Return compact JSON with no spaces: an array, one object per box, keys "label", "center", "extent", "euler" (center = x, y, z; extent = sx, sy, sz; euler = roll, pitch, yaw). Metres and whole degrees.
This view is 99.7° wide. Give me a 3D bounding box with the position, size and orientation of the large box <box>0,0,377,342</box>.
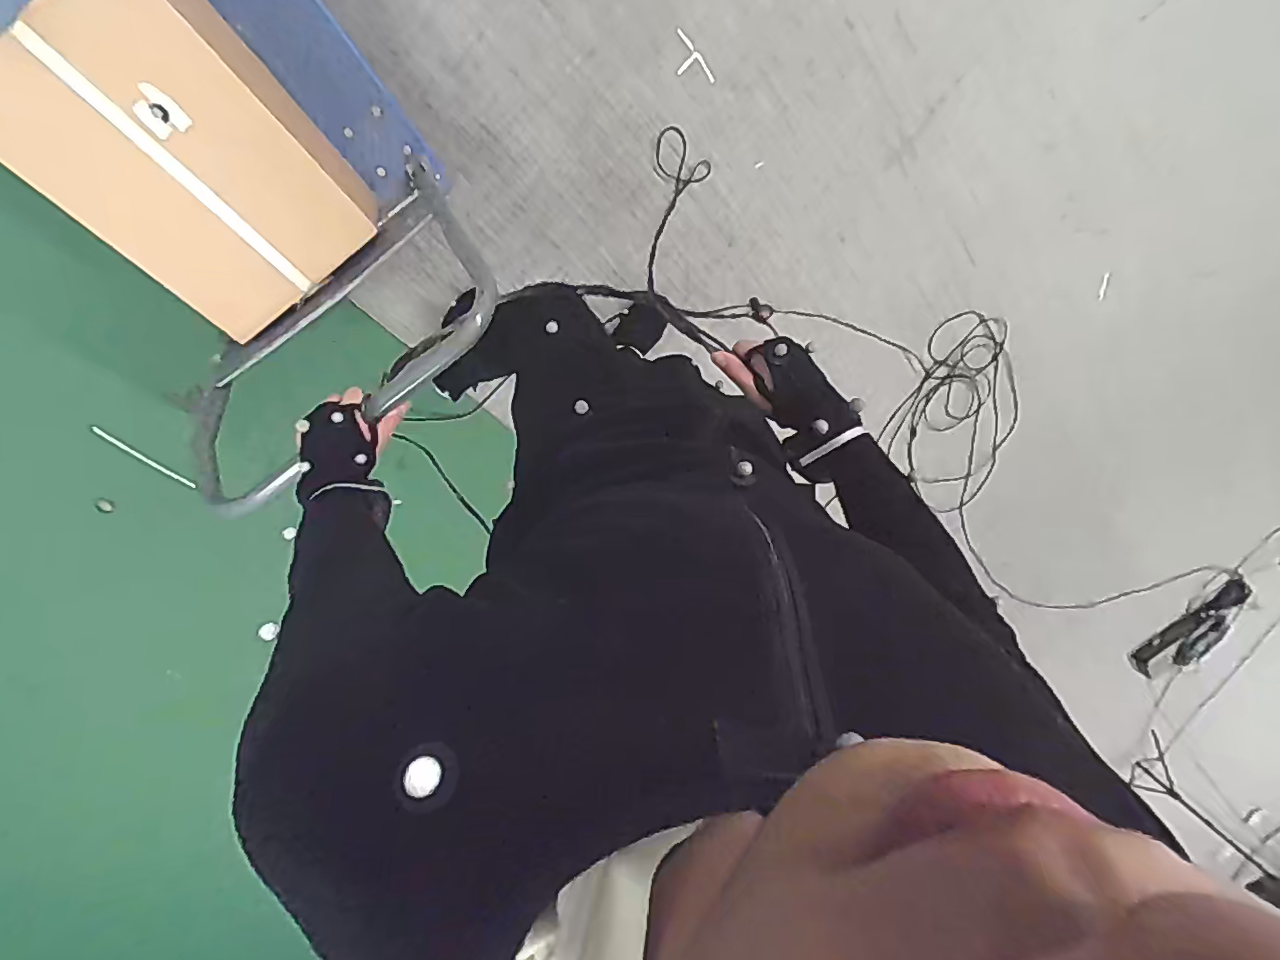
[{"label":"large box","center":[-0.712,-0.516,0.899],"extent":[0.320,0.320,0.408],"euler":[-38,131,4]}]
